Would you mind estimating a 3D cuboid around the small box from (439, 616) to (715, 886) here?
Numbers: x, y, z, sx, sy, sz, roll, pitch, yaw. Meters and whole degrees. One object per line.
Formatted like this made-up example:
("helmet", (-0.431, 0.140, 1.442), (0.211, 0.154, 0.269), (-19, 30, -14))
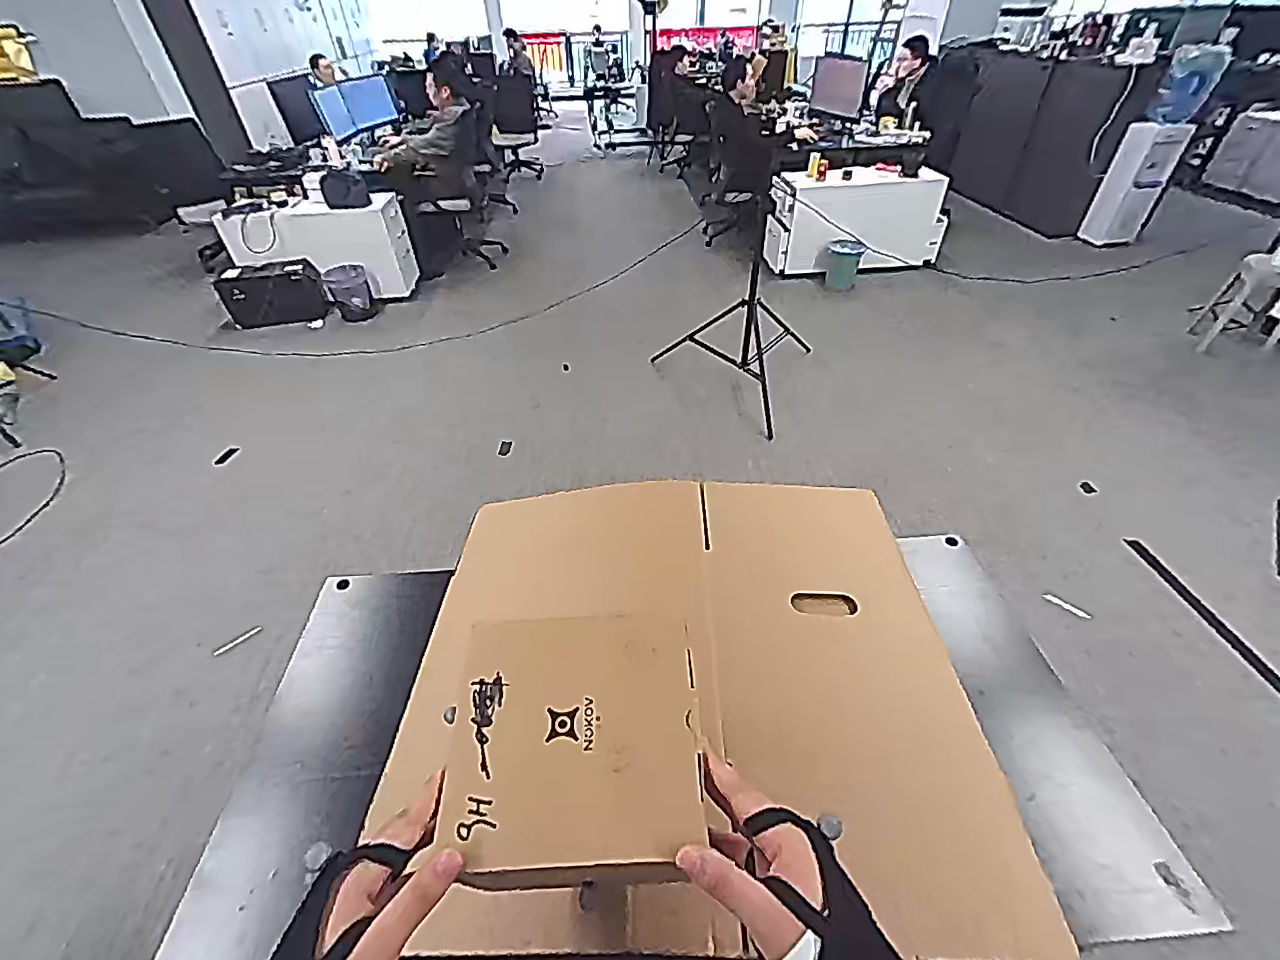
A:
("small box", (-0.043, 0.227, 0.450), (0.179, 0.176, 0.168), (-2, 48, -2))
